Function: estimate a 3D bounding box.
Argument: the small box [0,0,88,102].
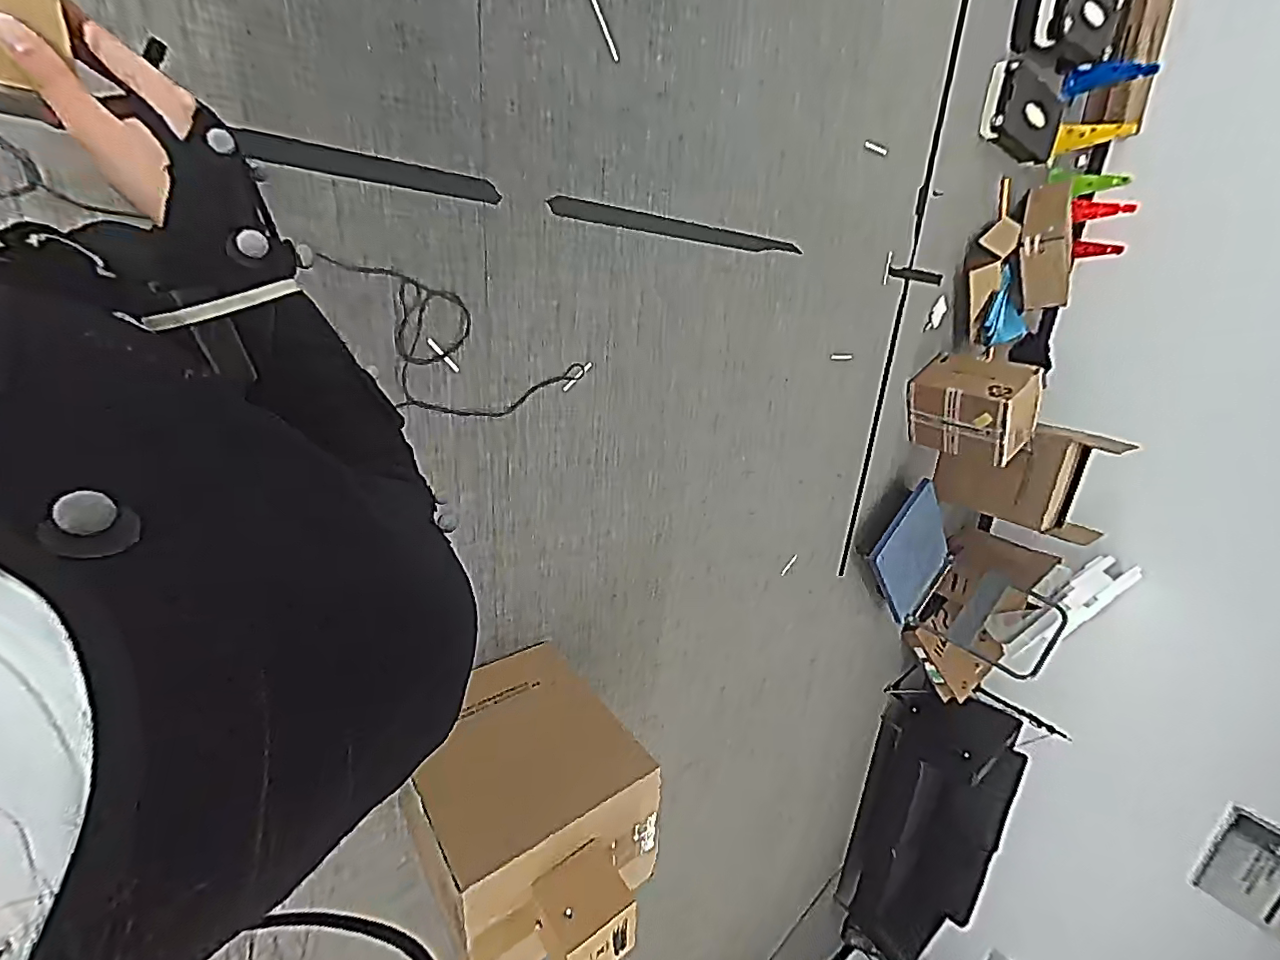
[{"bbox_3d":[-0.384,-0.293,0.238,0.168,0.176,0.179,-17,127,-44],"label":"small box"}]
